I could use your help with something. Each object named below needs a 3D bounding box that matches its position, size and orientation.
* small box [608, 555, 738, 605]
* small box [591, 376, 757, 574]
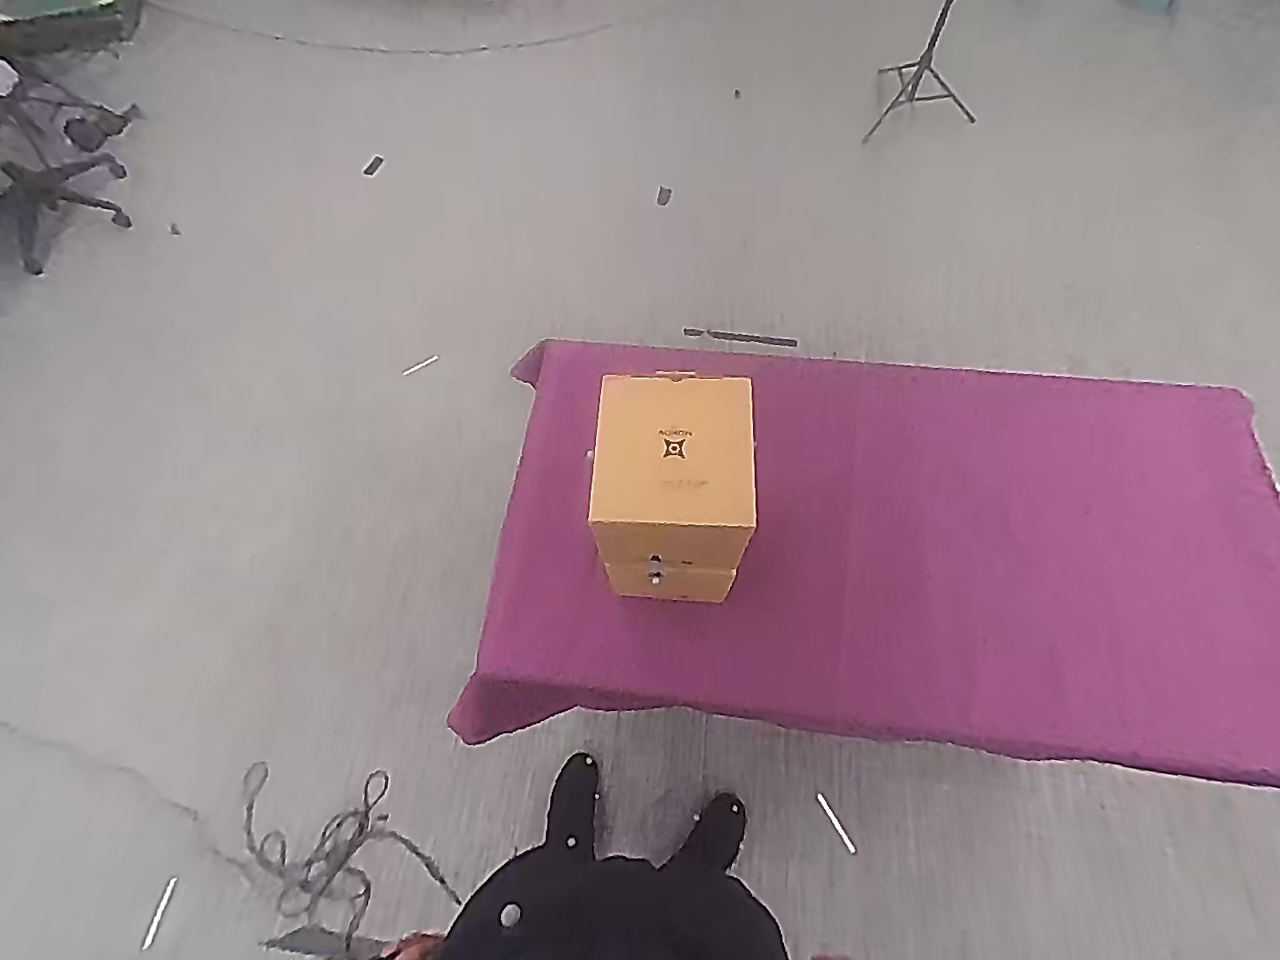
[{"bbox_3d":[0.051,0.070,0.782,0.168,0.176,0.179,4,65,4],"label":"small box"},{"bbox_3d":[0.041,0.000,0.634,0.168,0.176,0.179,3,66,4],"label":"small box"}]
